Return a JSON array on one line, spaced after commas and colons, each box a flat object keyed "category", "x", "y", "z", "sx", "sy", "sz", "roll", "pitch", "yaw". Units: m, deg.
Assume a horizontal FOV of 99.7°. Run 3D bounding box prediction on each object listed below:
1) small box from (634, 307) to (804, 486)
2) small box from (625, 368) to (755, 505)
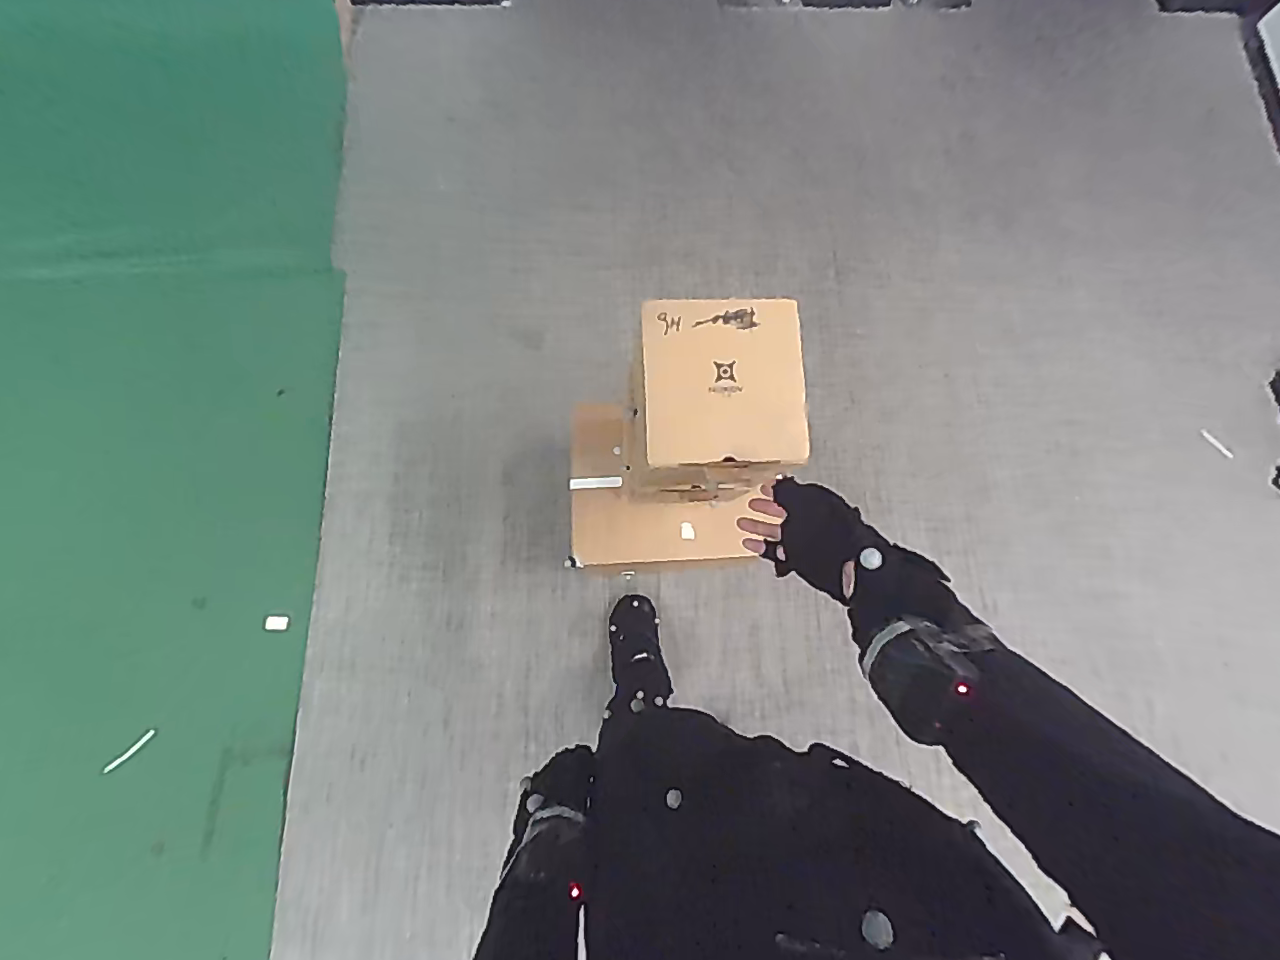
[{"category": "small box", "x": 0.080, "y": -0.085, "z": 0.635, "sx": 0.168, "sy": 0.176, "sz": 0.179, "roll": -1, "pitch": 83, "yaw": -4}, {"category": "small box", "x": 0.064, "y": -0.055, "z": 0.796, "sx": 0.168, "sy": 0.176, "sz": 0.179, "roll": -2, "pitch": 81, "yaw": -4}]
